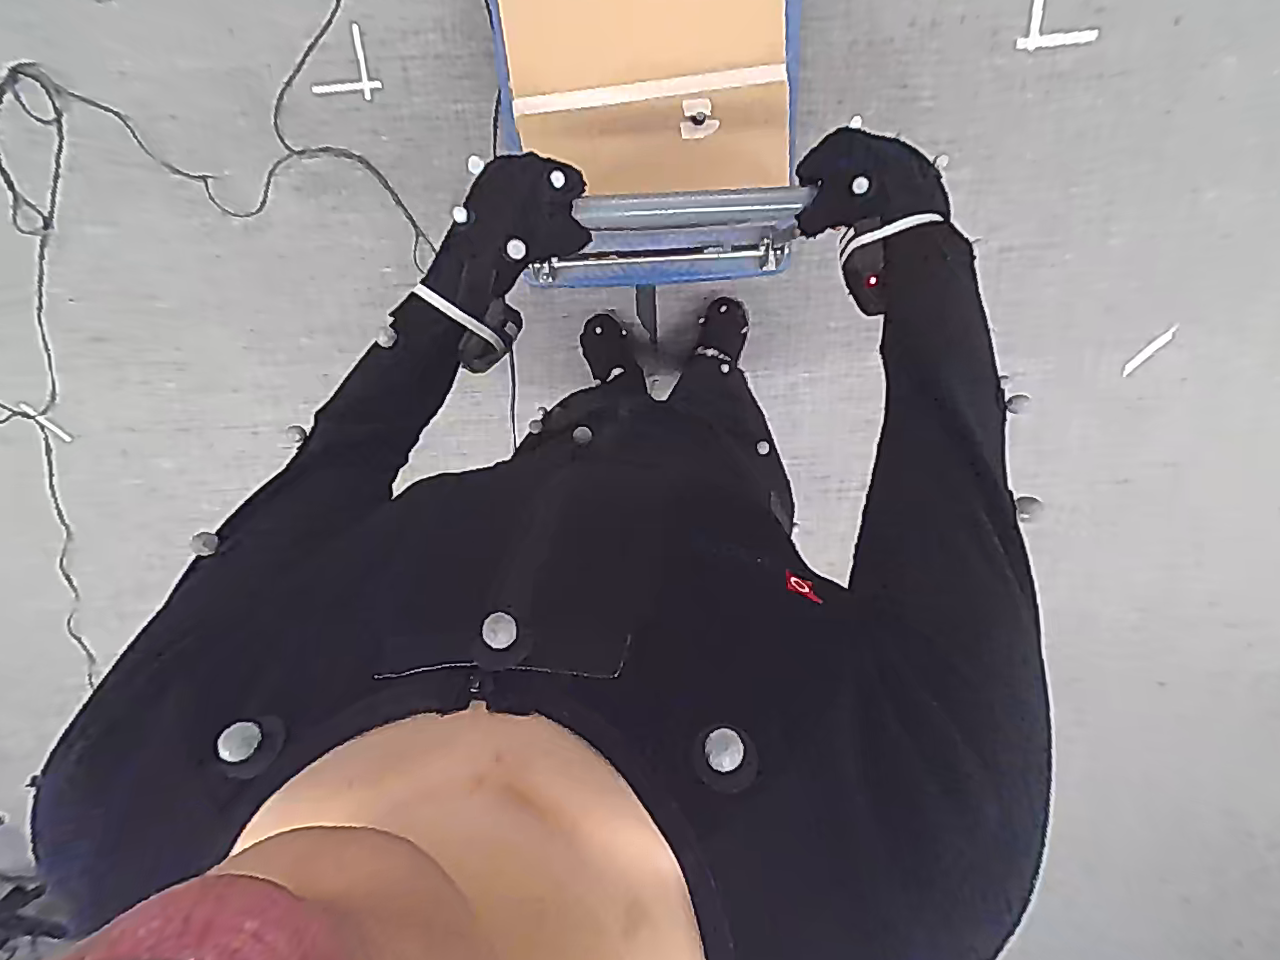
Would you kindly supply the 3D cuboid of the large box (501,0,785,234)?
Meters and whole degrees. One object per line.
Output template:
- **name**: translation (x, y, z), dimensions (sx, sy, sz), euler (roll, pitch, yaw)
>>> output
- **large box**: translation (0.008, -0.639, 0.951), dimensions (0.408, 0.320, 0.320), euler (-7, 110, 0)
